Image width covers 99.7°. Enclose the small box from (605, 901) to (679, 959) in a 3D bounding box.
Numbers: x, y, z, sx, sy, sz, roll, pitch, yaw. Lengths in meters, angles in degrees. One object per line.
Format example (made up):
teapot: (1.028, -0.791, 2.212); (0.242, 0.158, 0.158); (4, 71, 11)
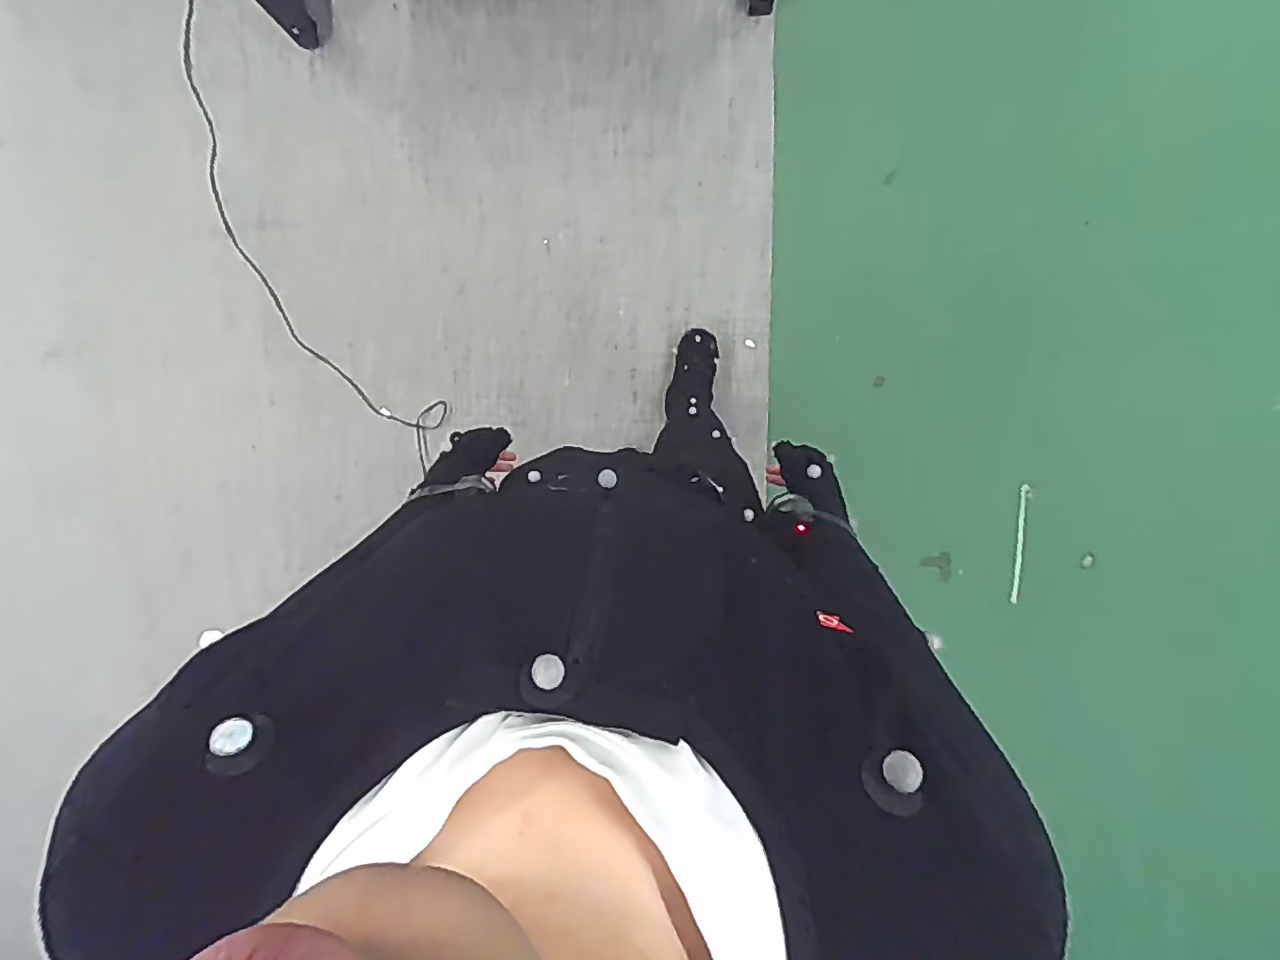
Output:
small box: (0.007, 1.291, 1.467); (0.168, 0.176, 0.179); (-17, 97, 4)
